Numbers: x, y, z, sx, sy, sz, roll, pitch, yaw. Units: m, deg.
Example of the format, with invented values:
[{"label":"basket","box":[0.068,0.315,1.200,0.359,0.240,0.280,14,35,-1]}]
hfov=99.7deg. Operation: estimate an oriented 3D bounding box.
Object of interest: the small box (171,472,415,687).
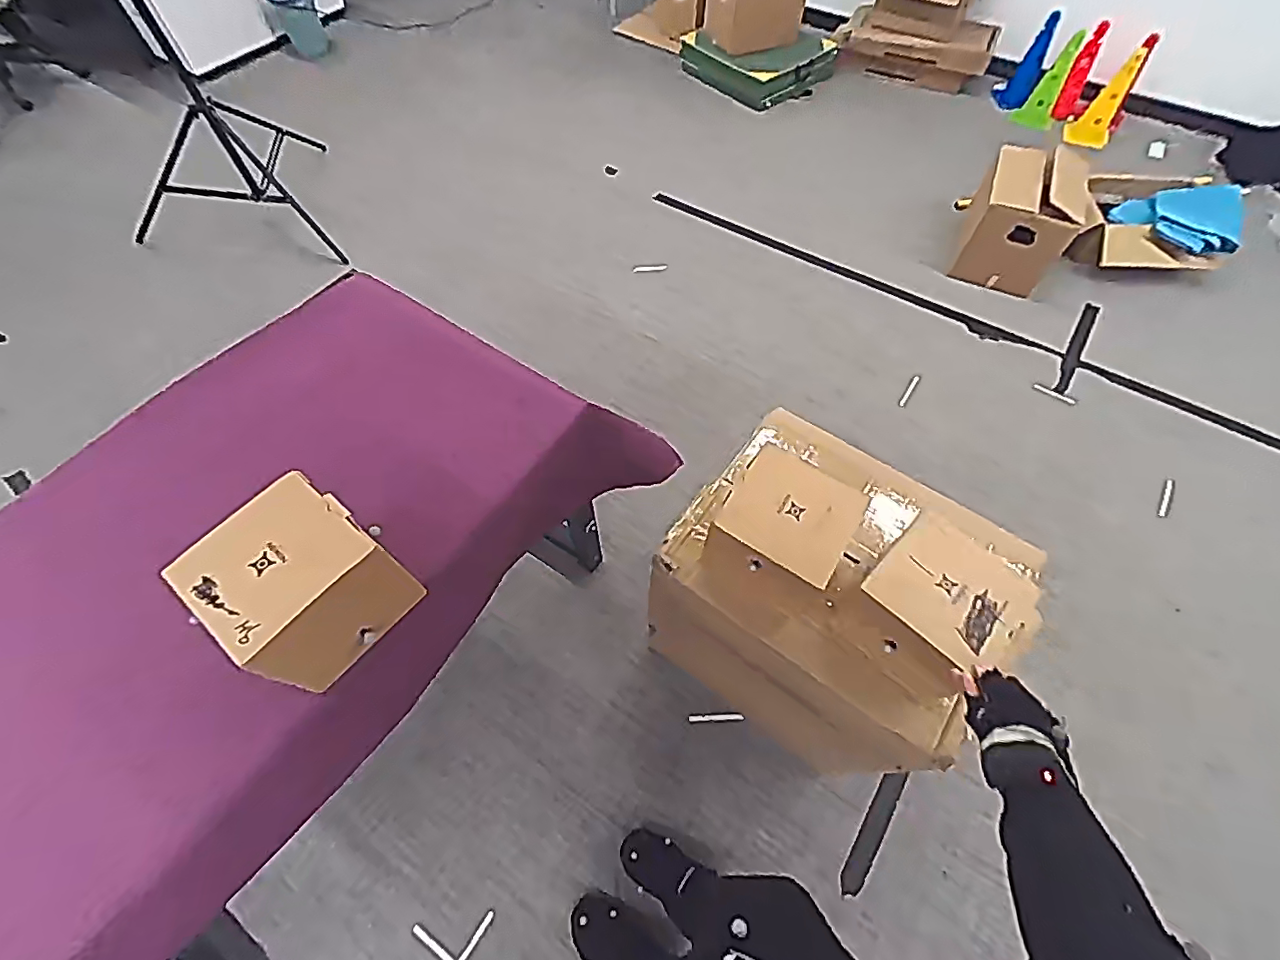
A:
[{"label":"small box","box":[-0.414,0.130,0.684,0.168,0.176,0.179,35,65,19]}]

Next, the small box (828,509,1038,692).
[{"label":"small box","box":[0.403,0.180,0.774,0.179,0.176,0.168,40,68,23]}]

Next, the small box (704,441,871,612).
[{"label":"small box","box":[0.214,0.079,0.833,0.179,0.176,0.168,32,67,15]}]
